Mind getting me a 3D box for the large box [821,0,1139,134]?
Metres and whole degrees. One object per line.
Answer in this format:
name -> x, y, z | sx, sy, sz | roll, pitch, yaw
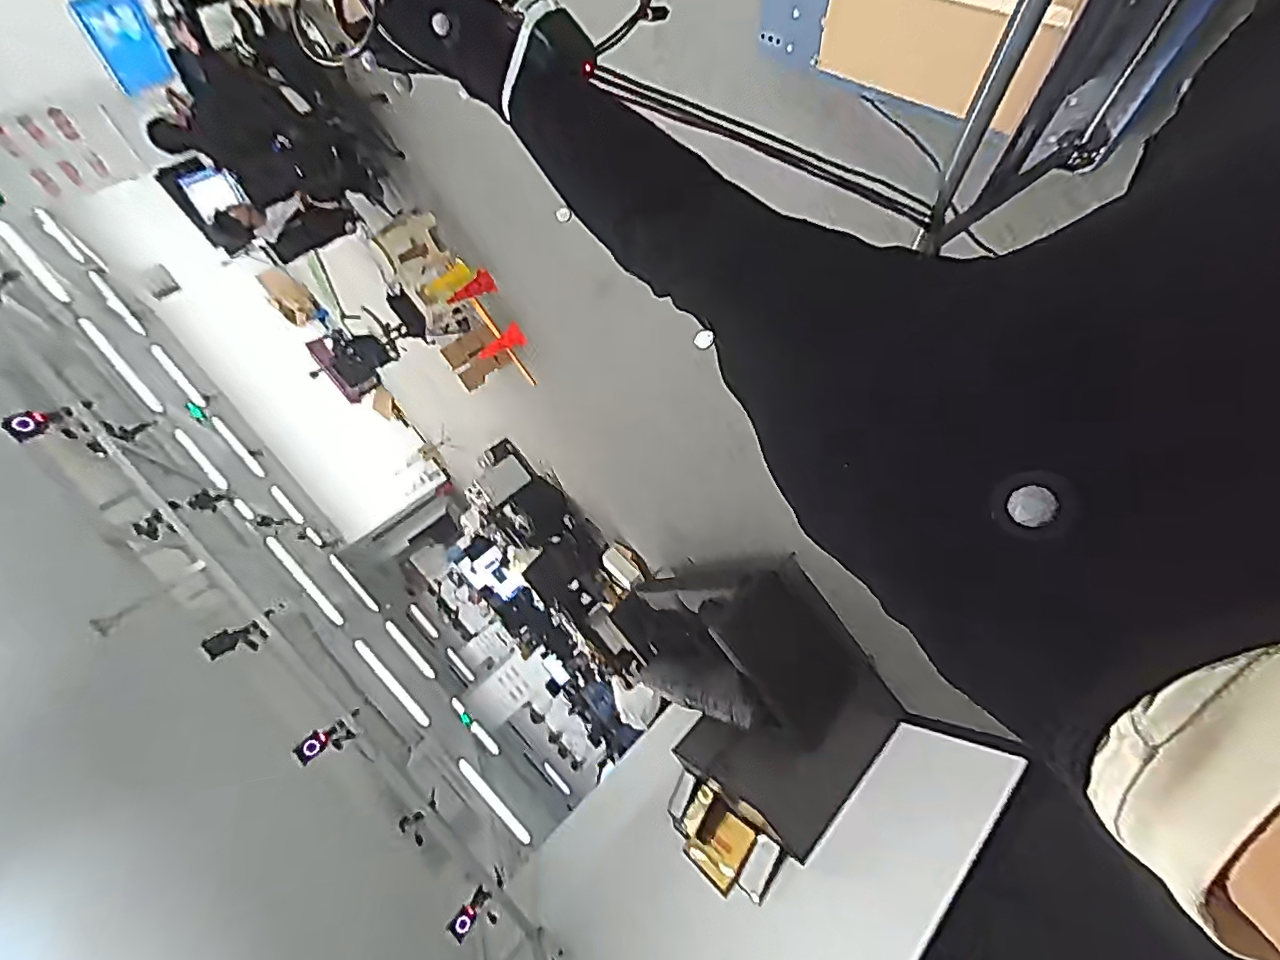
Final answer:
large box -> 0.593, -0.855, 0.902 | 0.408, 0.320, 0.320 | 41, 156, 24
